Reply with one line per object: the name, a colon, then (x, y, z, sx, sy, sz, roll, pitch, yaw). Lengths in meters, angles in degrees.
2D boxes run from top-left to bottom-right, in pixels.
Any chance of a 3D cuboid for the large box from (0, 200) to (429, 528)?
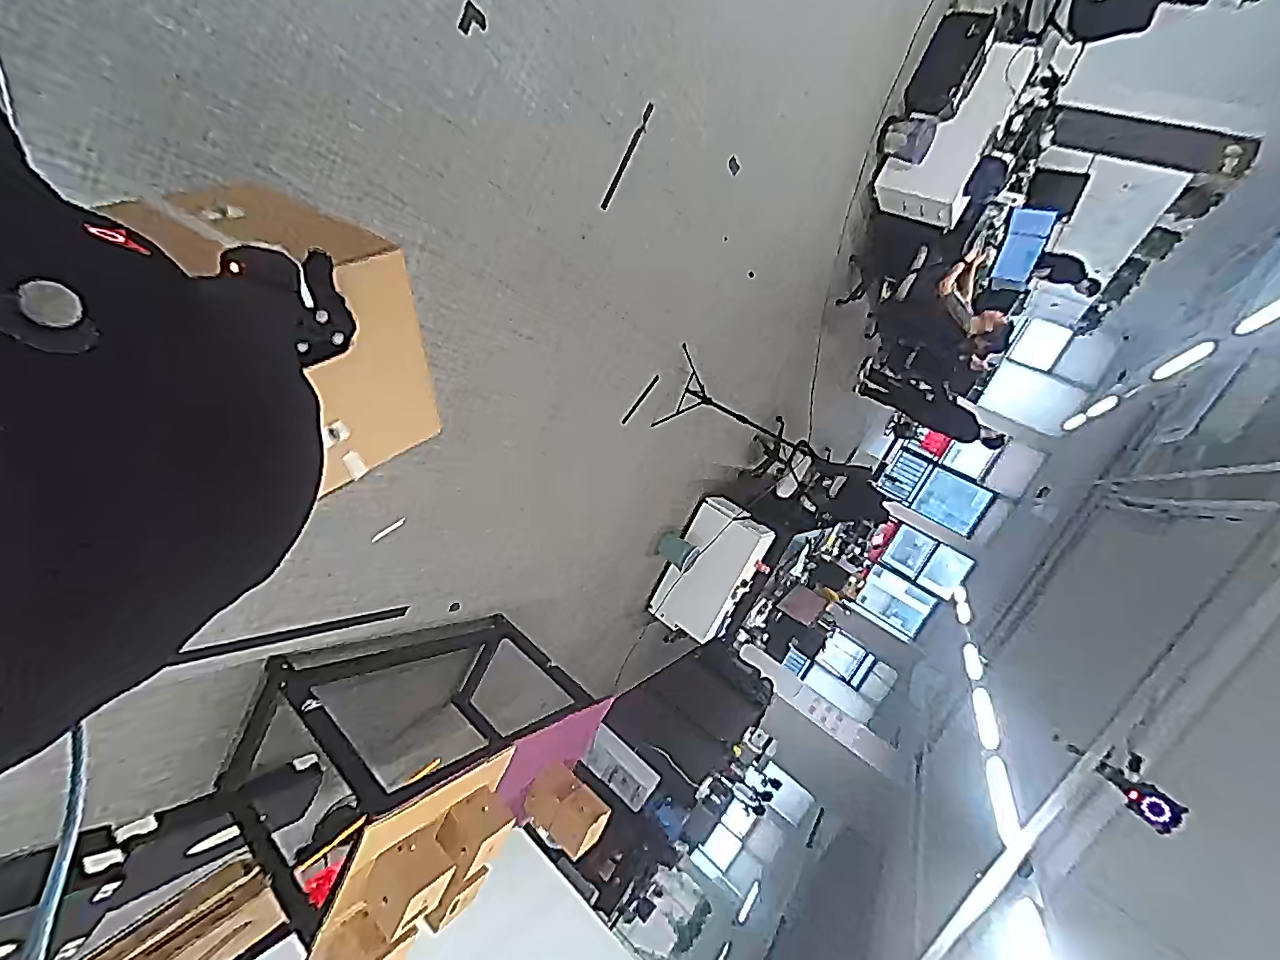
large box: (-0.597, -0.194, 0.817, 0.320, 0.408, 0.320, -41, 148, -41)
